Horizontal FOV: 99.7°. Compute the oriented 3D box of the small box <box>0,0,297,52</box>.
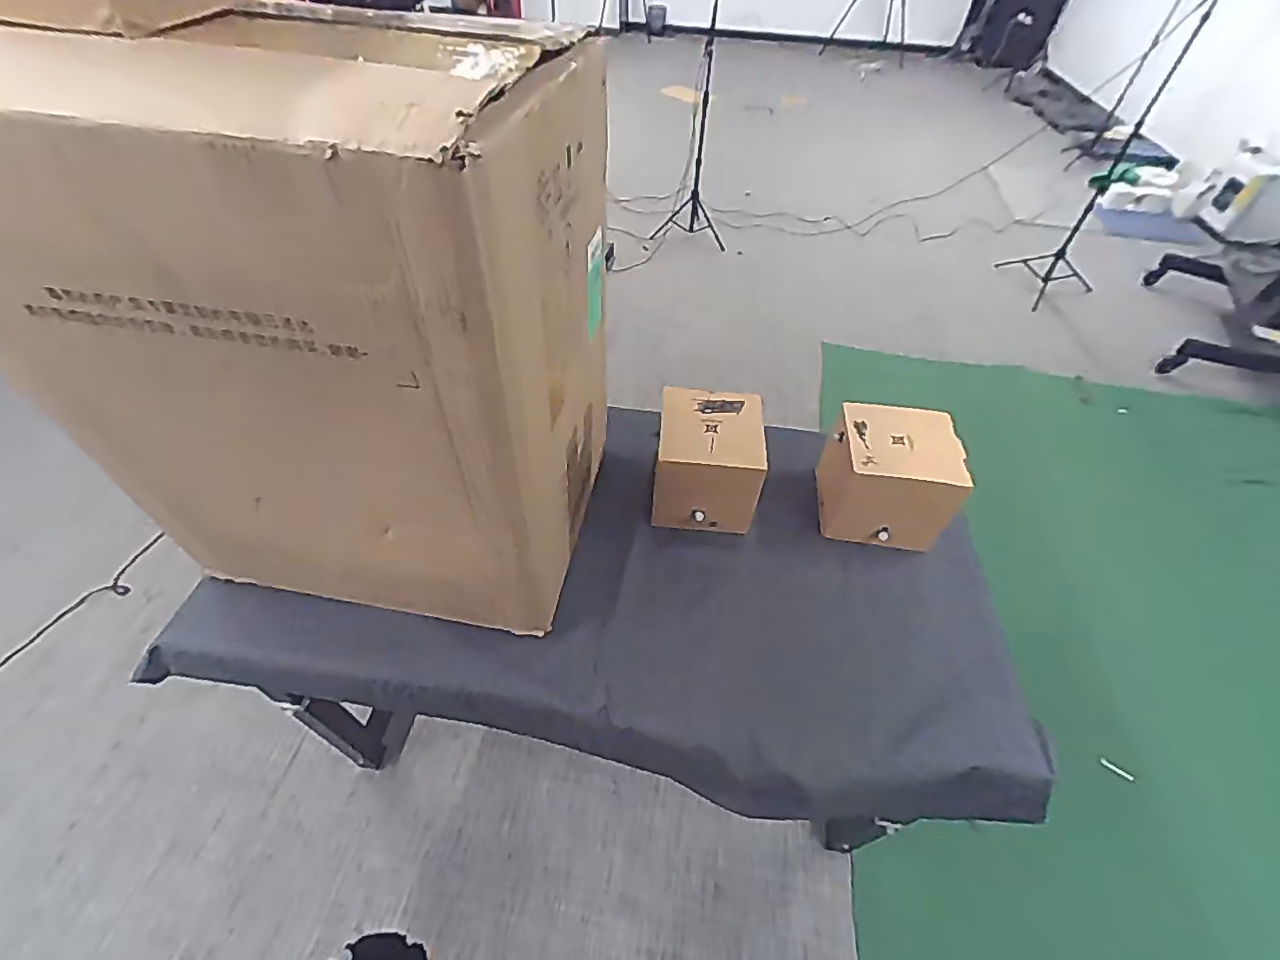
[{"bbox_3d":[-0.413,-0.450,0.403,0.179,0.176,0.168,14,54,7],"label":"small box"}]

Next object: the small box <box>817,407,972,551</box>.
[{"bbox_3d":[0.415,0.002,0.915,0.179,0.176,0.168,8,48,4],"label":"small box"}]
